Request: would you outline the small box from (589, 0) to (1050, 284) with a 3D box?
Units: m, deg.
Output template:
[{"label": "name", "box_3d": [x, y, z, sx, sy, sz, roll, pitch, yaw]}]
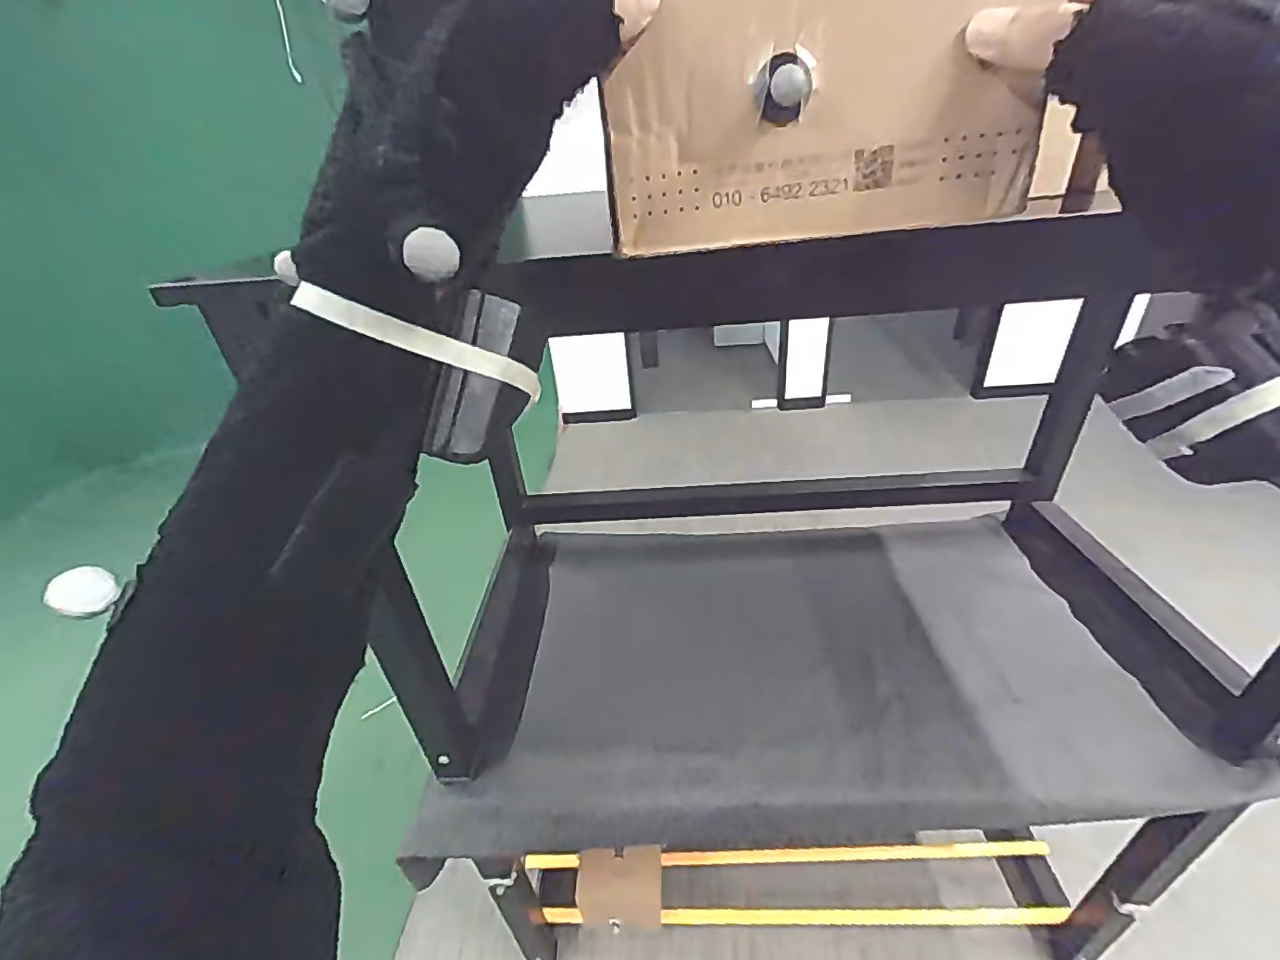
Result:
[{"label": "small box", "box_3d": [0.066, -0.201, 0.267, 0.168, 0.176, 0.179, -4, 31, 5]}]
